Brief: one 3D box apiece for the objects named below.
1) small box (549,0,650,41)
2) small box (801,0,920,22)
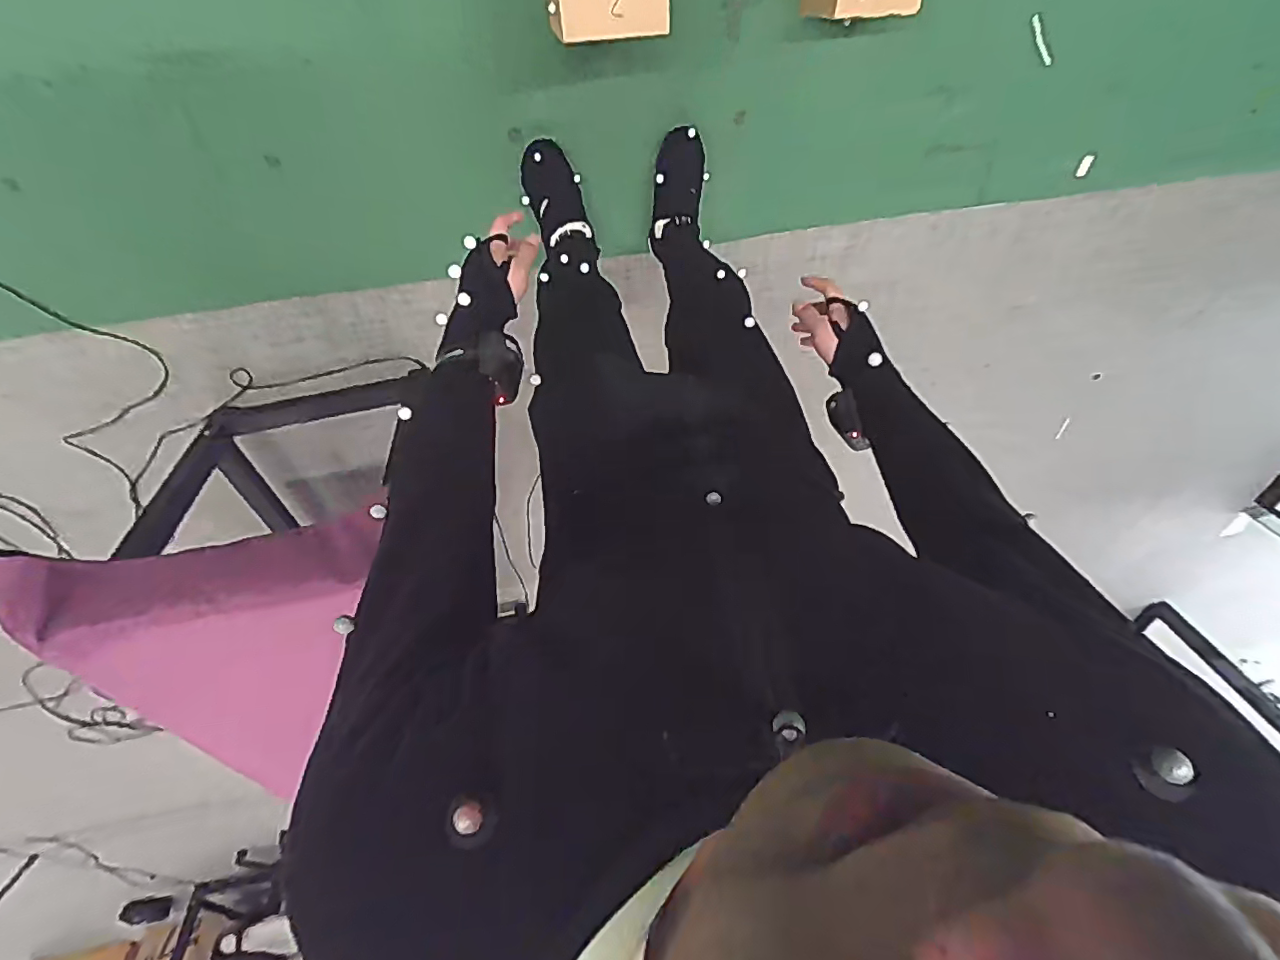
[{"bbox_3d":[-0.079,-0.888,0.943,0.168,0.176,0.179,-9,132,-5],"label":"small box"},{"bbox_3d":[0.415,-0.962,0.997,0.168,0.176,0.179,-9,132,-7],"label":"small box"}]
